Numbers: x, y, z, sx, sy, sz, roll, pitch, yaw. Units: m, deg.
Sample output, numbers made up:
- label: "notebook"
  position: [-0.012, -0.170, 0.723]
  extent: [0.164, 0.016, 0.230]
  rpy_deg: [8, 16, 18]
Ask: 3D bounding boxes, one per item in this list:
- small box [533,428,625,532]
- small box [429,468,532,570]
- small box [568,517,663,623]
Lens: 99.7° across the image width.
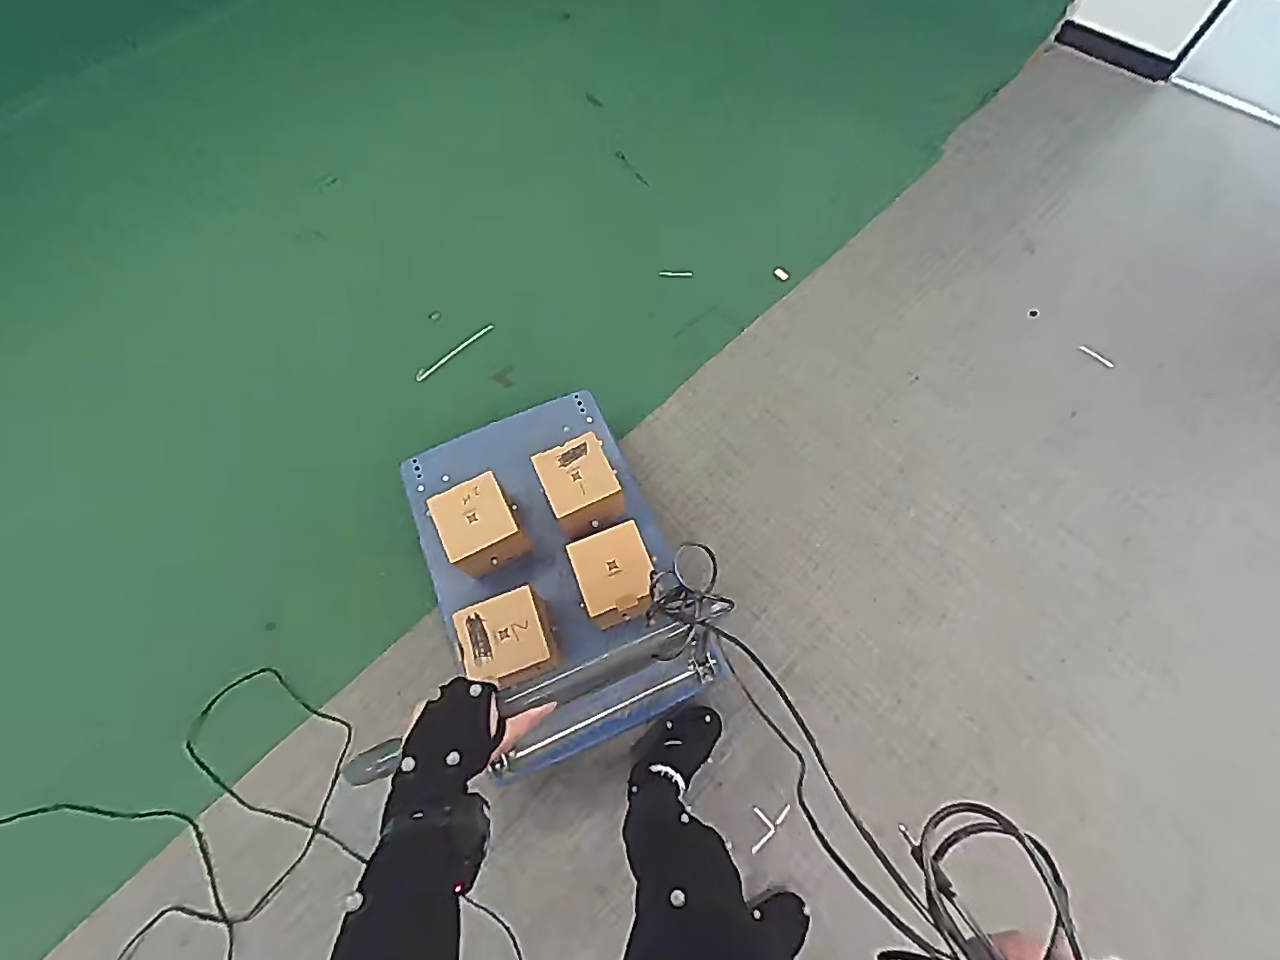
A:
- label: "small box"
  position: [-0.146, 0.006, 1.345]
  extent: [0.168, 0.176, 0.179]
  rpy_deg: [-25, 70, -6]
- label: "small box"
  position: [-0.381, 0.105, 1.317]
  extent: [0.168, 0.176, 0.179]
  rpy_deg: [-26, 69, -8]
- label: "small box"
  position: [-0.054, 0.213, 1.257]
  extent: [0.168, 0.176, 0.179]
  rpy_deg: [-21, 69, -6]
